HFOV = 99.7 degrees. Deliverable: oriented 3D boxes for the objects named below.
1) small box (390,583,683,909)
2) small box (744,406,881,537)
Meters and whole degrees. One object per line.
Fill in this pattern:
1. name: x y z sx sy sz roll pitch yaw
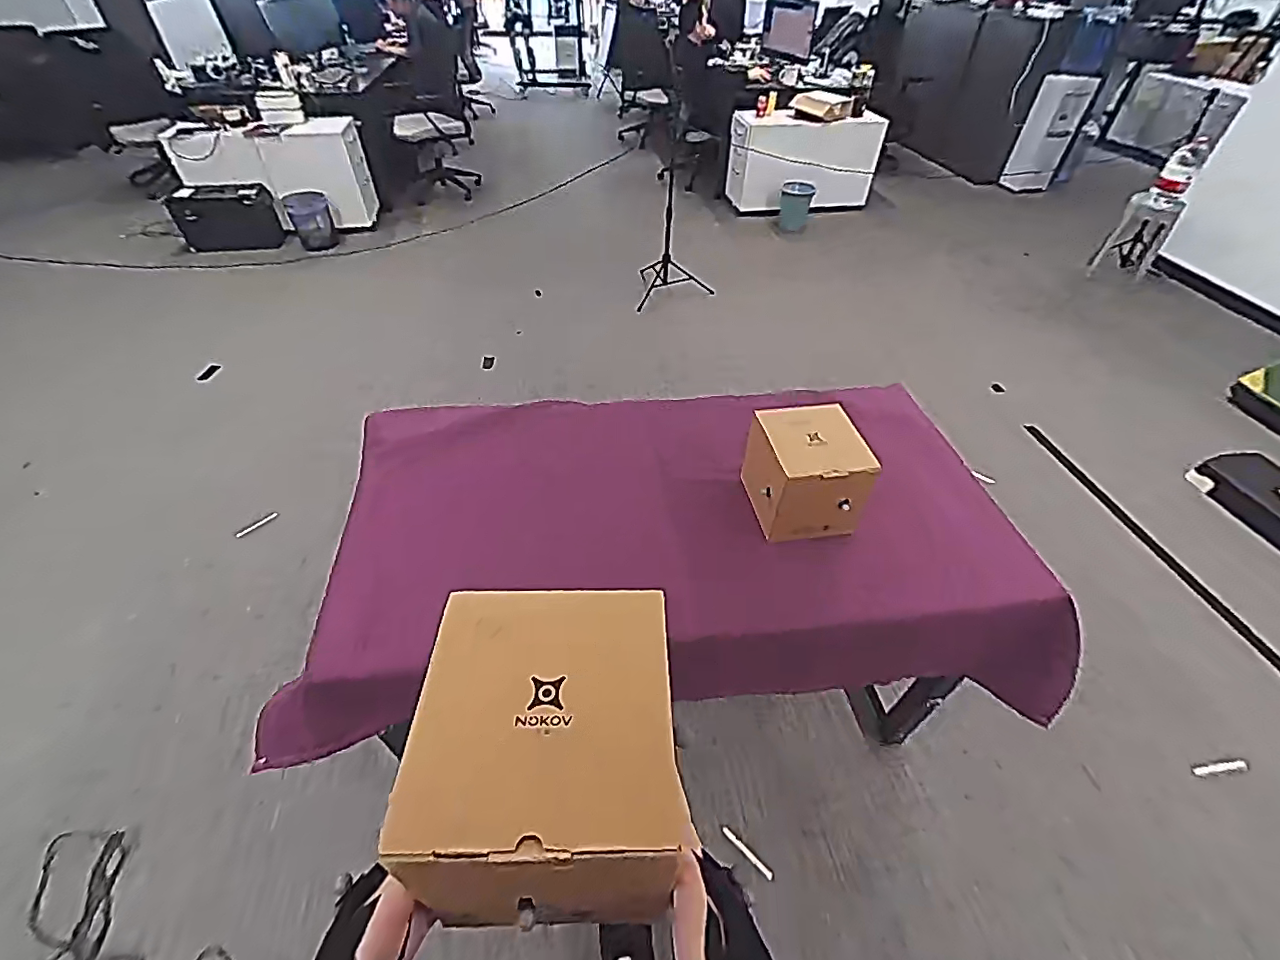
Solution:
1. small box: -0.061 0.199 0.412 0.168 0.176 0.179 0 43 -2
2. small box: 0.298 -0.010 0.976 0.168 0.176 0.179 -5 45 -7
